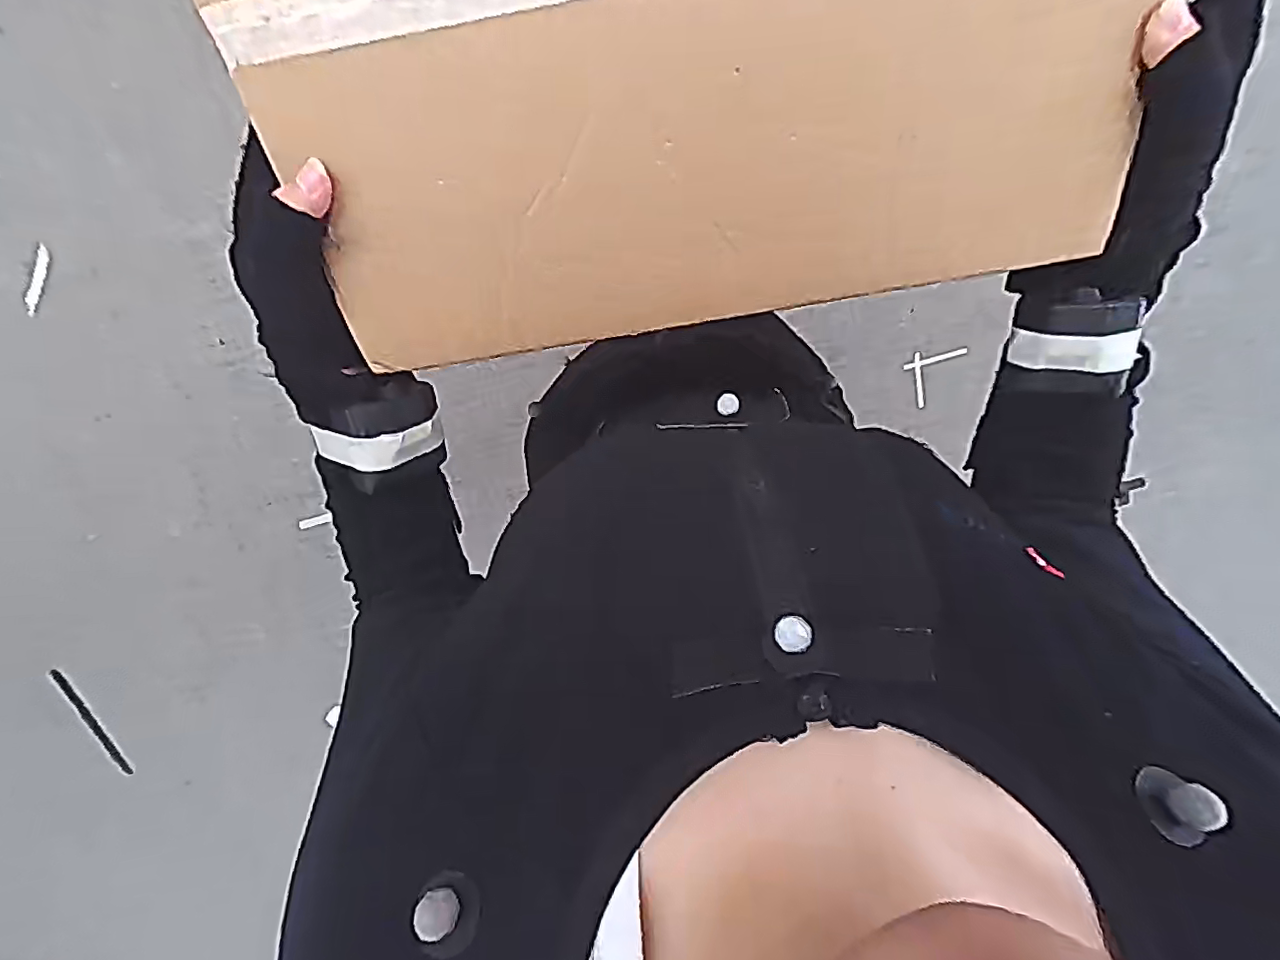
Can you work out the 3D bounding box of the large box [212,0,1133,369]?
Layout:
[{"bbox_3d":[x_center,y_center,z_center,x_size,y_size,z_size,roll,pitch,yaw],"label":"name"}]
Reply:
[{"bbox_3d":[0.013,-0.305,0.348,0.408,0.320,0.320,-8,123,4],"label":"large box"}]
